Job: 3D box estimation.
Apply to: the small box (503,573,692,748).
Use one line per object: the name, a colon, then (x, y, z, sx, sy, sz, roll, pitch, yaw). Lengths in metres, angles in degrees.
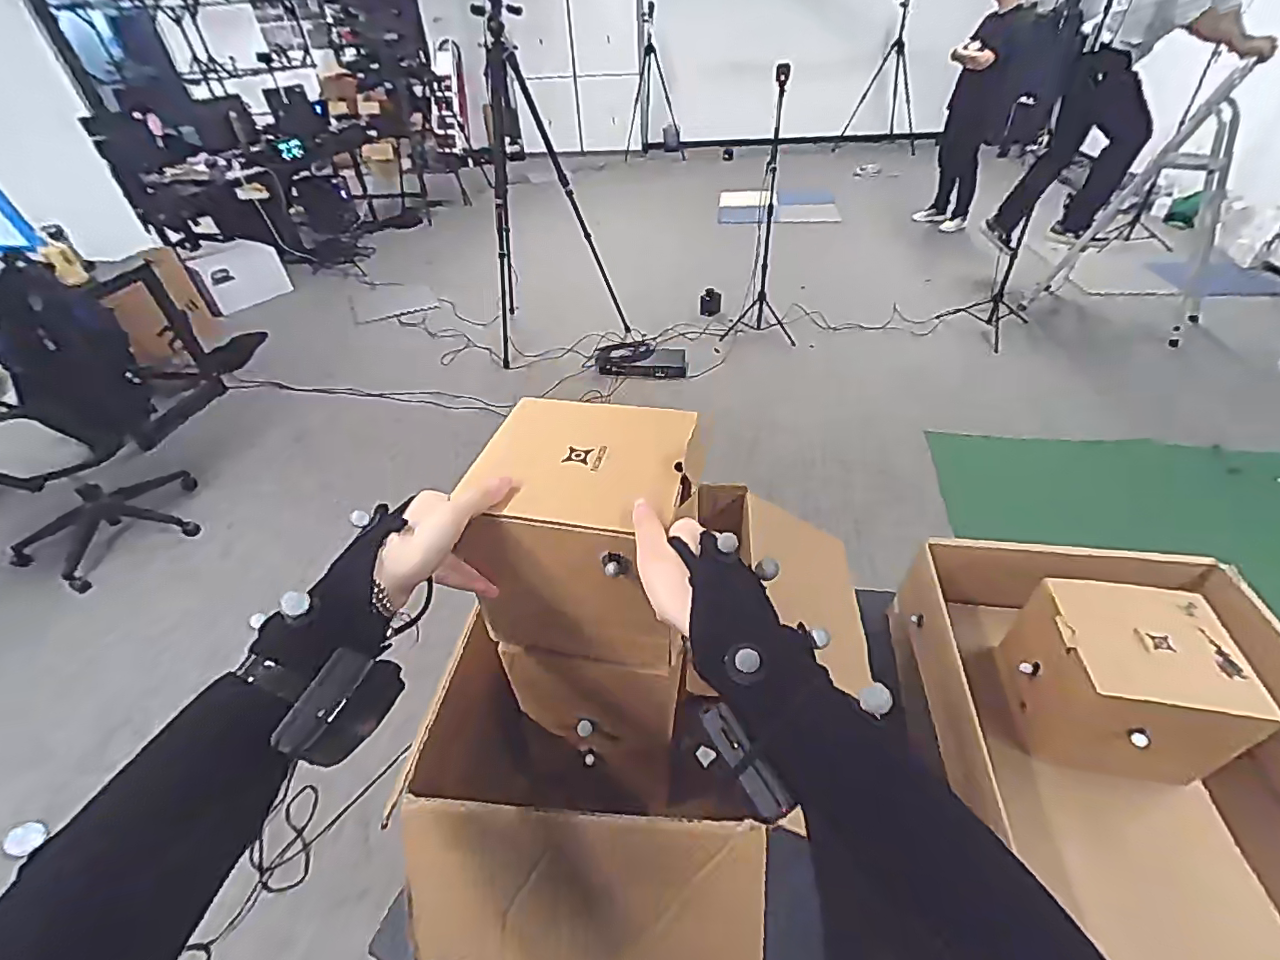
small box: (-0.034, 0.172, 0.616, 0.168, 0.176, 0.179, 5, 43, 10)

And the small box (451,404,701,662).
small box: (-0.042, 0.048, 0.506, 0.179, 0.176, 0.168, 6, 41, 10)
